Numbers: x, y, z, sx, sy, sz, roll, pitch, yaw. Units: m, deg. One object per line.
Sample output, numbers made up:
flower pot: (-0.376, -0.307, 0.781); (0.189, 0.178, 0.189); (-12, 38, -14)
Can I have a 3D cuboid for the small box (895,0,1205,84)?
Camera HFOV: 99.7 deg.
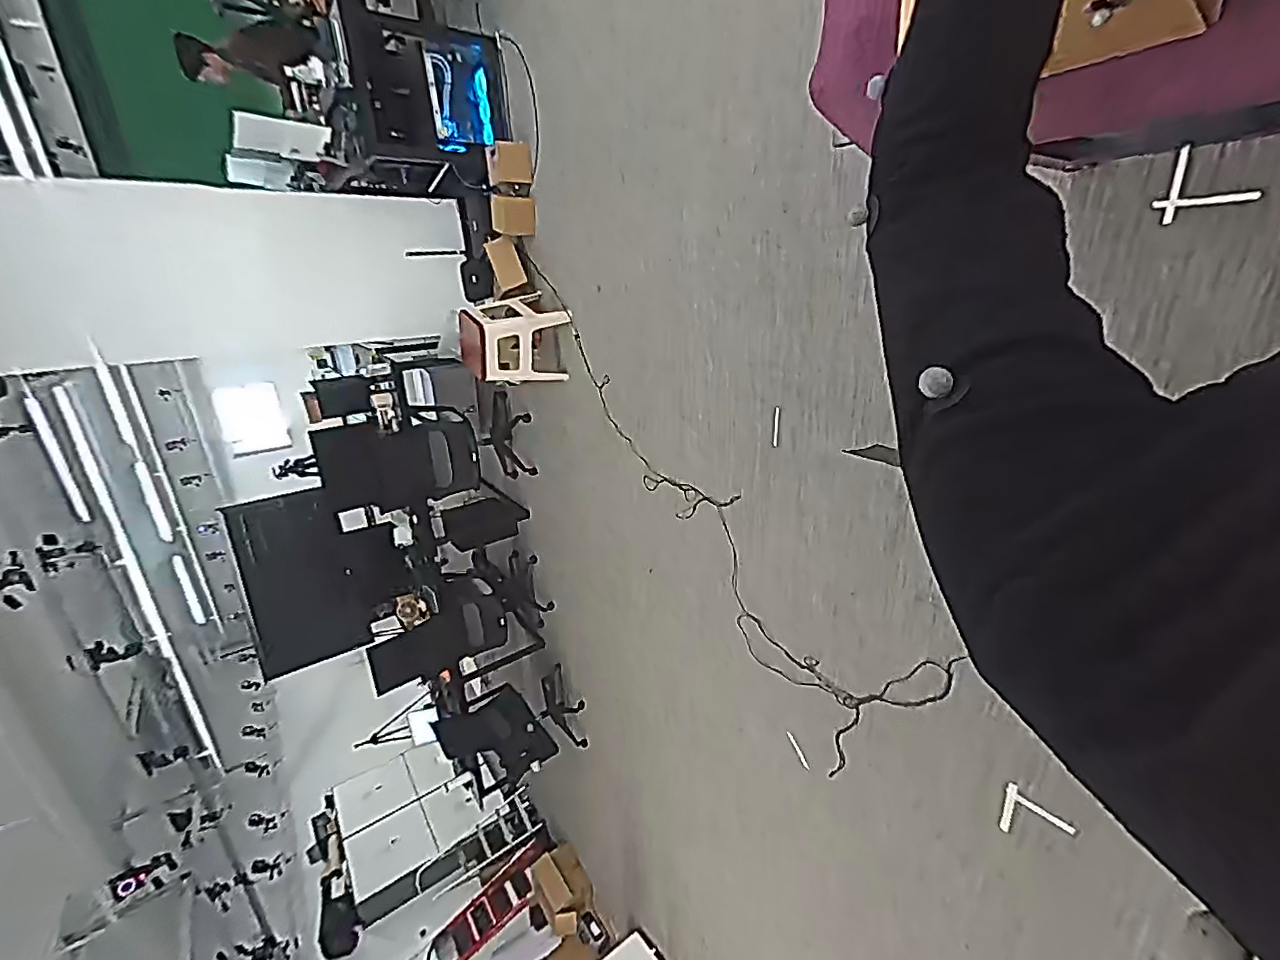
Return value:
small box: (0.334, -0.446, 0.427); (0.179, 0.176, 0.168); (18, 118, 48)
